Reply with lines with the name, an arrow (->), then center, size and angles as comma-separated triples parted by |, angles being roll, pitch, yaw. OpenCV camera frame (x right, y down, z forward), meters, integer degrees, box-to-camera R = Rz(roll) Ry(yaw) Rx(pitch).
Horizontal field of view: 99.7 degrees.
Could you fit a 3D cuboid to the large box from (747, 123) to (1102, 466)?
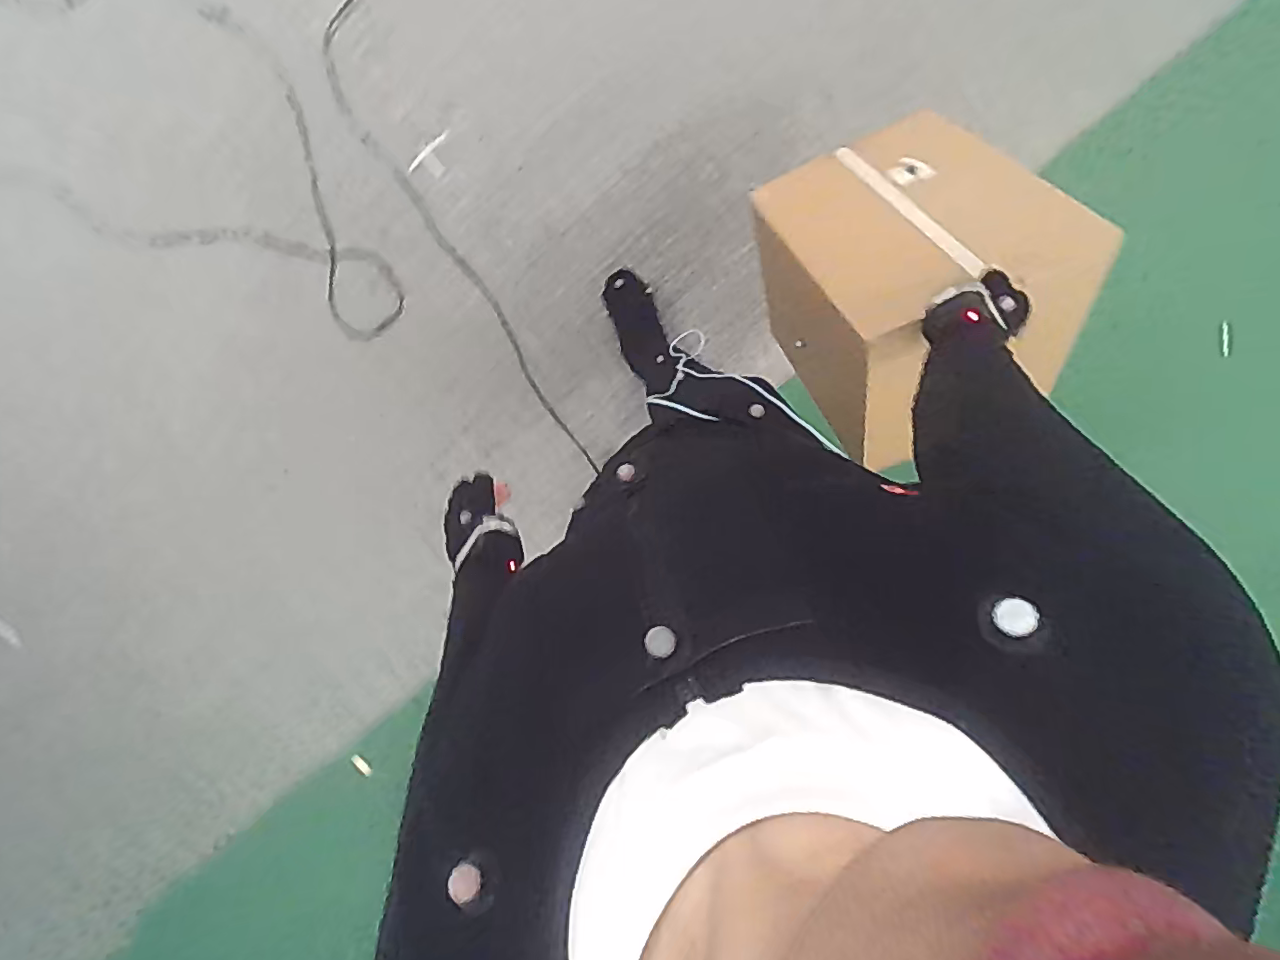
large box -> 0.420, -0.302, 0.901 | 0.320, 0.408, 0.320 | -23, 142, 6
